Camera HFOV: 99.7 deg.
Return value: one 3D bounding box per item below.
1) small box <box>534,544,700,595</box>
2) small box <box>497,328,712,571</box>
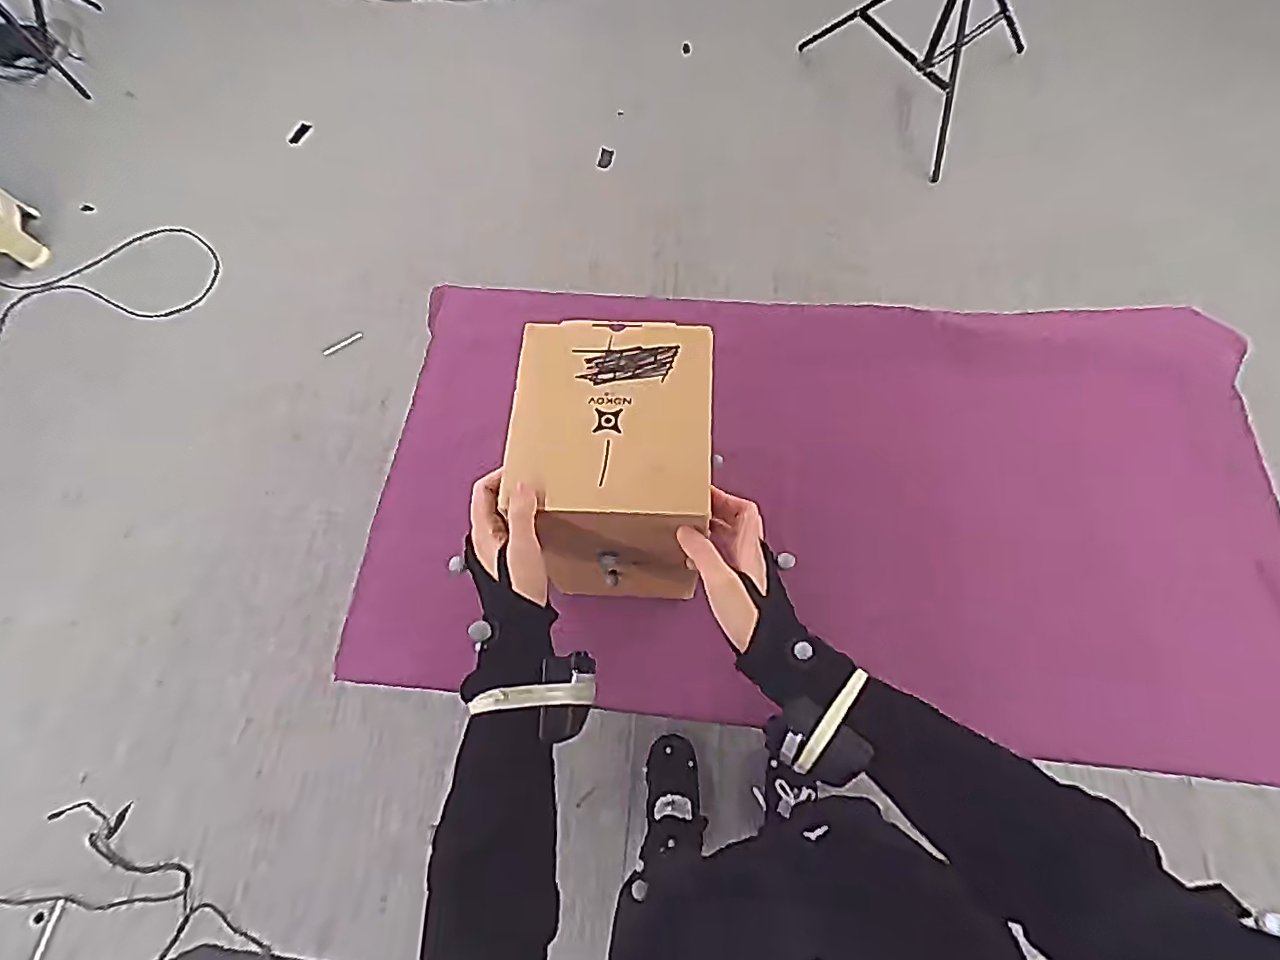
[{"bbox_3d":[-0.018,0.044,0.668,0.179,0.176,0.168,2,67,4],"label":"small box"},{"bbox_3d":[-0.021,-0.022,0.517,0.168,0.176,0.179,2,68,4],"label":"small box"}]
